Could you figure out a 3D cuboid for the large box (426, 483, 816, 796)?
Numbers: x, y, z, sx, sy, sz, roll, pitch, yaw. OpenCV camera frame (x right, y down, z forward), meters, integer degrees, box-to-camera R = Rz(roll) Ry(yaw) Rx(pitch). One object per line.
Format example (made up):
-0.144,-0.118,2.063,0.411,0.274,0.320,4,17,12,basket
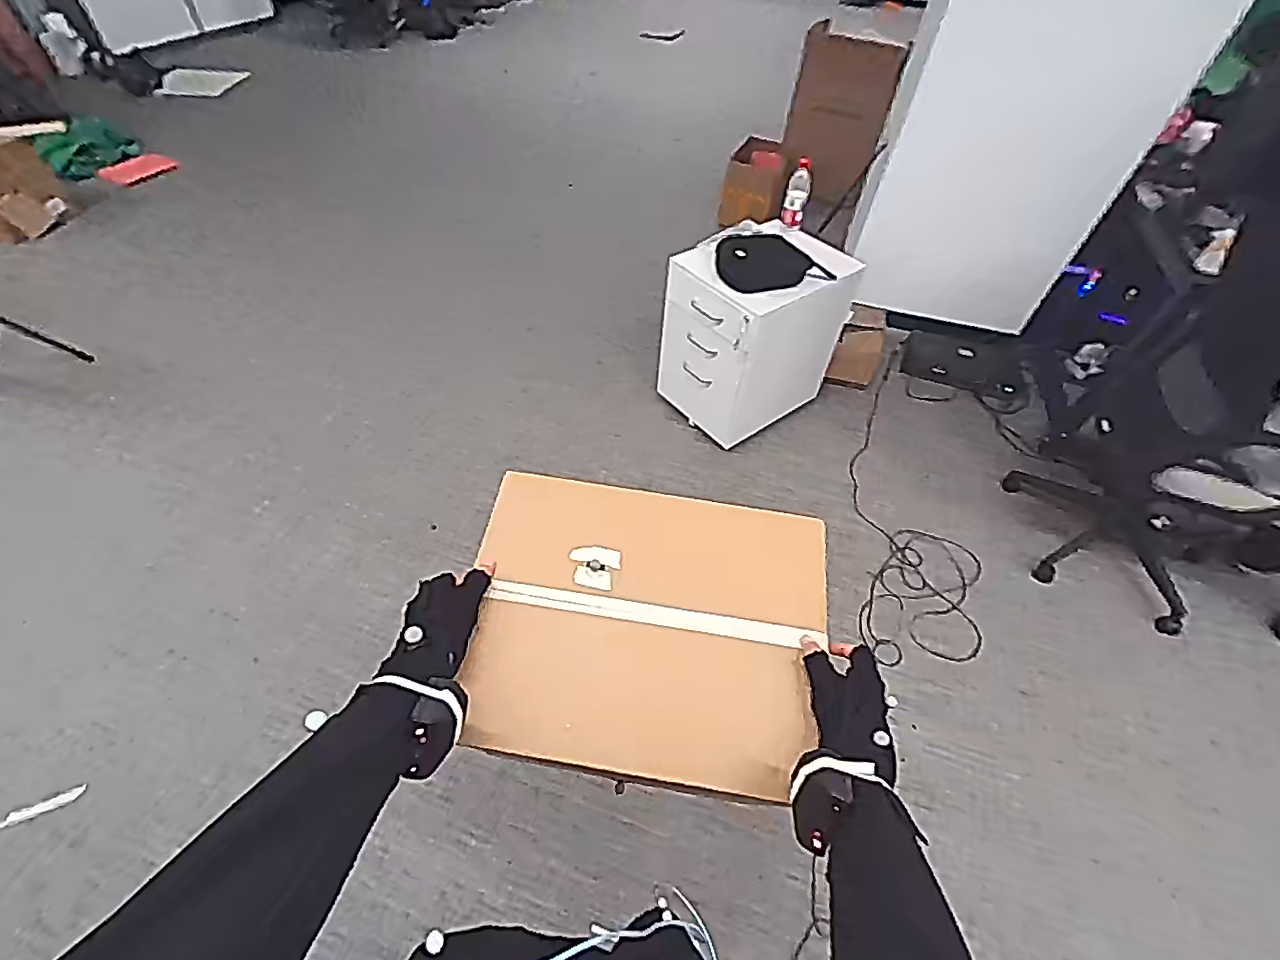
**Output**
-0.006,0.231,0.744,0.408,0.320,0.320,8,59,3,large box
